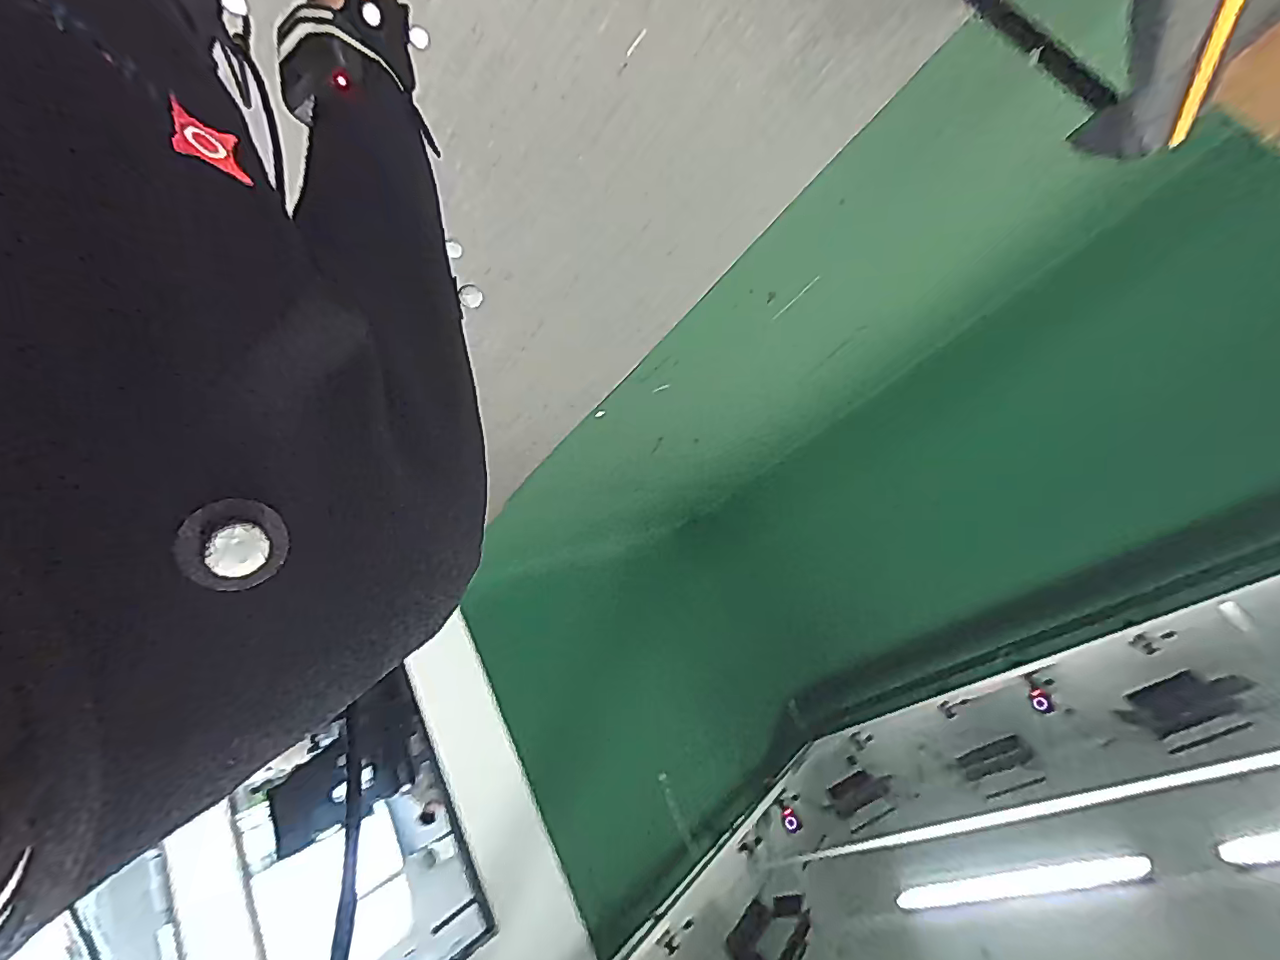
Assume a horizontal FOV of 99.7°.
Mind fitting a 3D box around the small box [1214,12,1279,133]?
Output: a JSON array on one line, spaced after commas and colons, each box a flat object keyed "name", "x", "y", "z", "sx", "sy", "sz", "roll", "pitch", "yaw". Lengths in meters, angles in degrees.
[{"name": "small box", "x": 1.441, "y": -0.929, "z": 1.190, "sx": 0.179, "sy": 0.176, "sz": 0.168, "roll": -42, "pitch": 157, "yaw": 31}]

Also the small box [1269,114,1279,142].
[{"name": "small box", "x": 1.521, "y": -0.796, "z": 1.140, "sx": 0.168, "sy": 0.176, "sz": 0.179, "roll": -3, "pitch": 148, "yaw": -50}]
